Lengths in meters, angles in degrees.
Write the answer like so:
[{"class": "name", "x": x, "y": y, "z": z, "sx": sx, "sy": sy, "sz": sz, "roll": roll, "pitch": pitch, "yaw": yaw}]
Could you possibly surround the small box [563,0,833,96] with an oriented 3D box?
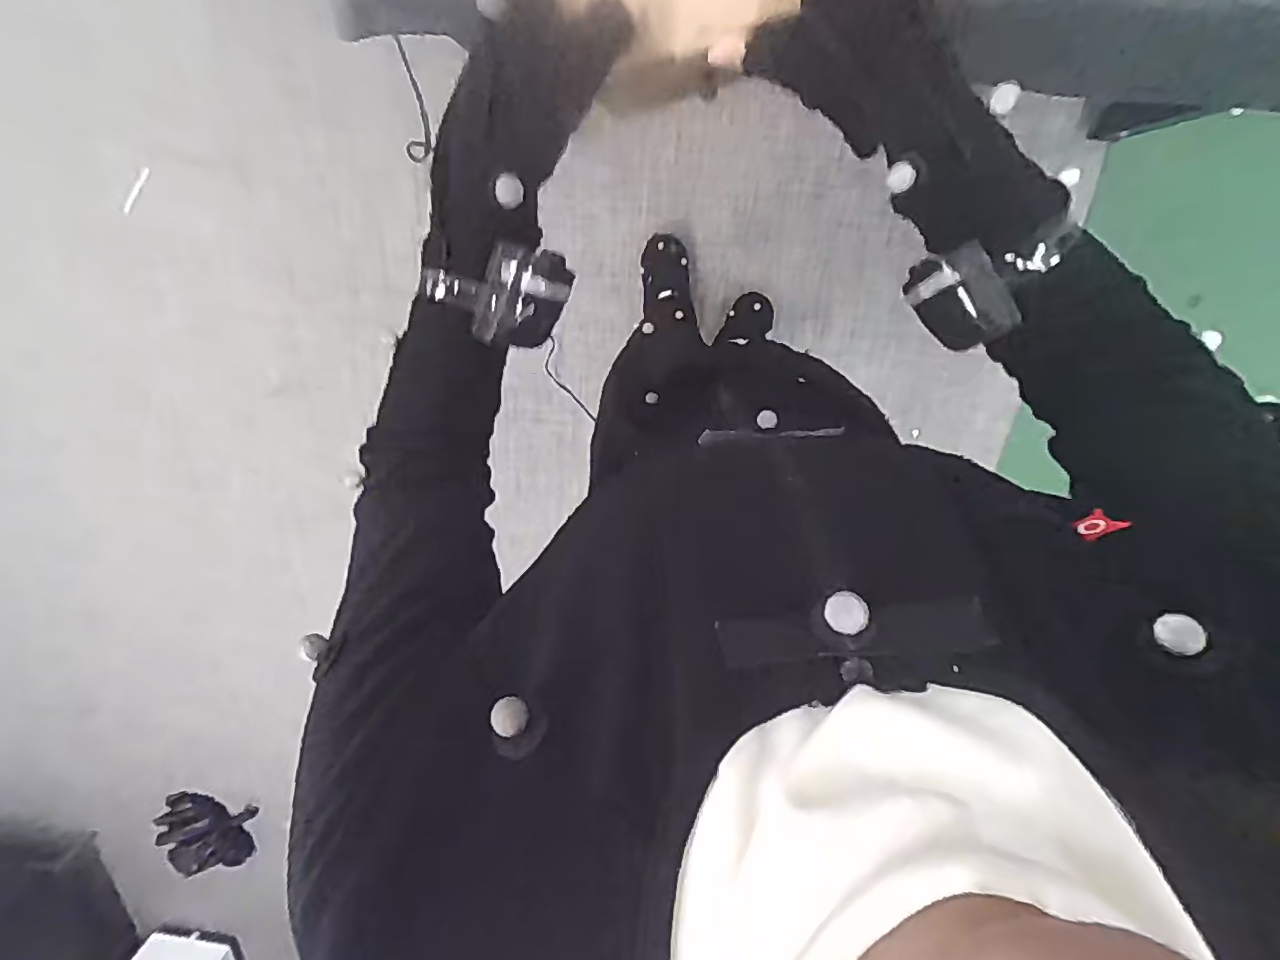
[{"class": "small box", "x": 0.028, "y": -0.386, "z": 0.367, "sx": 0.168, "sy": 0.176, "sz": 0.179, "roll": -10, "pitch": 117, "yaw": 10}]
